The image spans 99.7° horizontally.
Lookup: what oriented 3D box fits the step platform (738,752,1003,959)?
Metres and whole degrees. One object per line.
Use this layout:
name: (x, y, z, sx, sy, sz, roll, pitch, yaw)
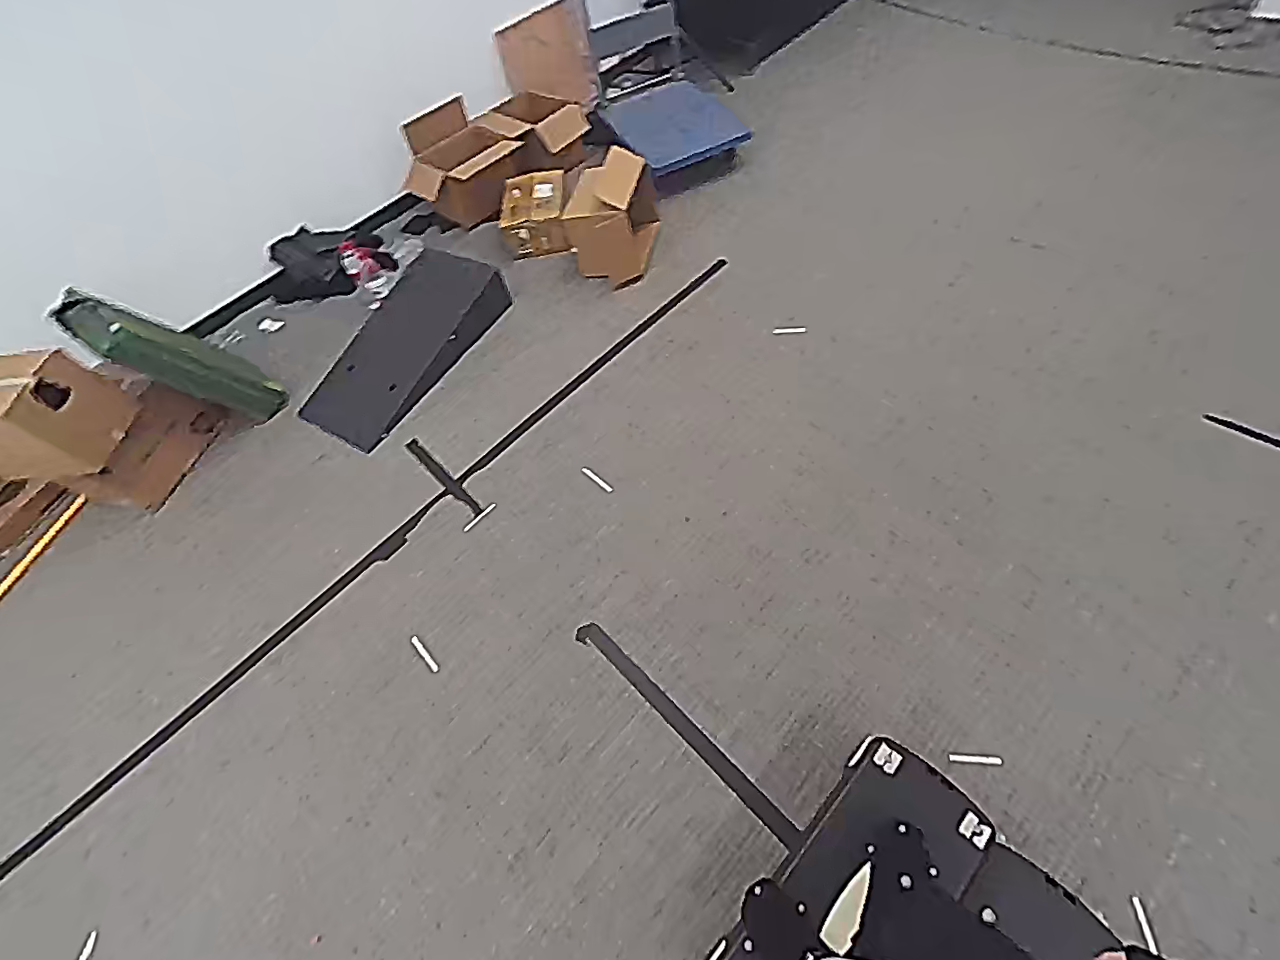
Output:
step platform: (0.455, 0.932, 1.134, 0.286, 0.204, 0.684, 35, 69, 28)
